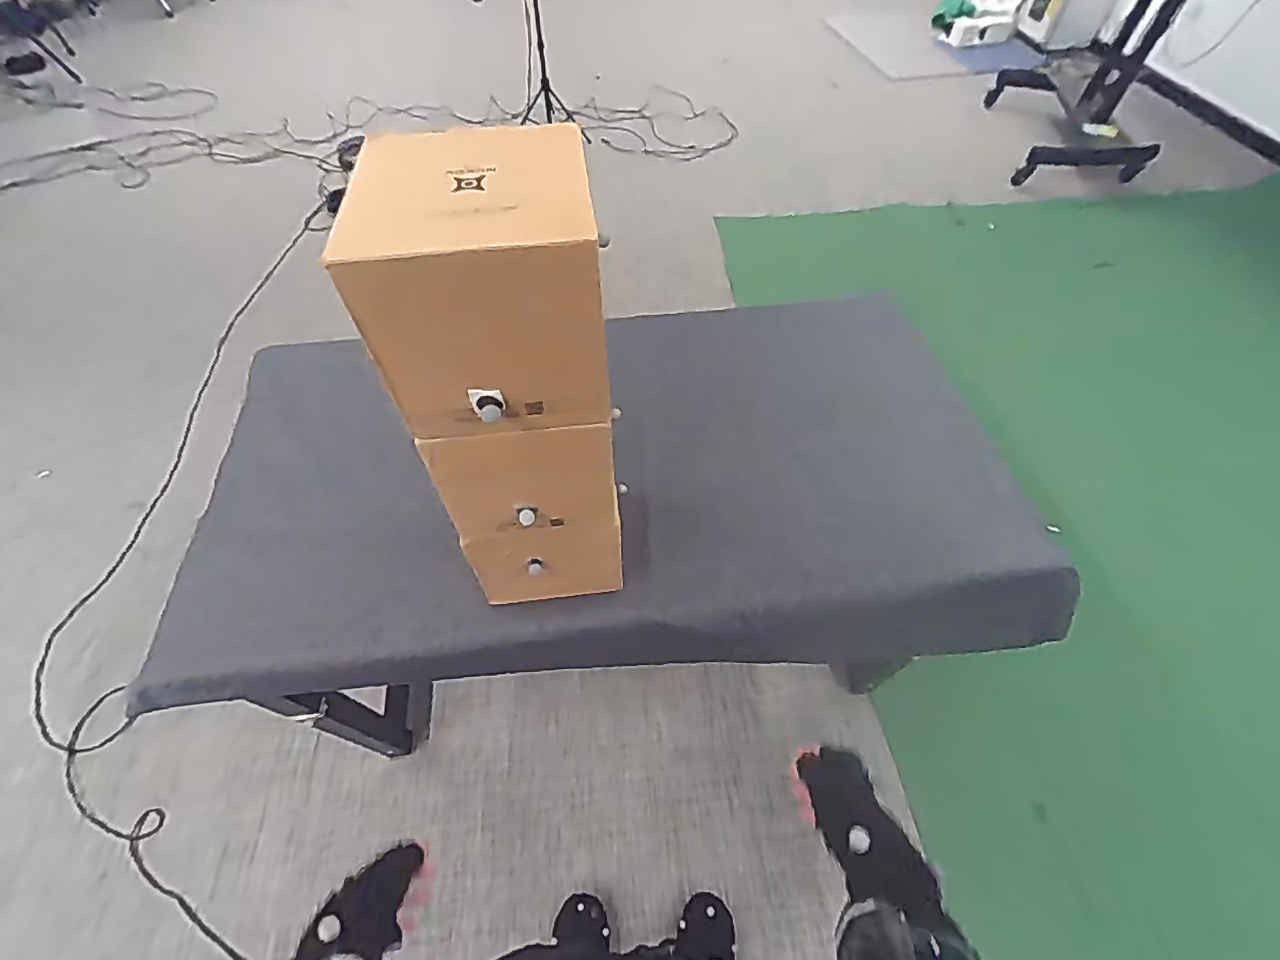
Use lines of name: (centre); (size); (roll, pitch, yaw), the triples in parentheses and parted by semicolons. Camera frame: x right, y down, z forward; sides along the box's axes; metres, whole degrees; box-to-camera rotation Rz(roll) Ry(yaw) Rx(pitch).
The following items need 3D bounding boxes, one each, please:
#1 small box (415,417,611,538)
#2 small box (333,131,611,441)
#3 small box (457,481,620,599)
small box: (-0.118, -0.058, 0.571); (0.168, 0.176, 0.179); (-4, 54, -4)
small box: (-0.114, -0.155, 0.441); (0.168, 0.176, 0.179); (-6, 55, -4)
small box: (-0.122, 0.043, 0.701); (0.179, 0.176, 0.168); (-5, 54, -5)
